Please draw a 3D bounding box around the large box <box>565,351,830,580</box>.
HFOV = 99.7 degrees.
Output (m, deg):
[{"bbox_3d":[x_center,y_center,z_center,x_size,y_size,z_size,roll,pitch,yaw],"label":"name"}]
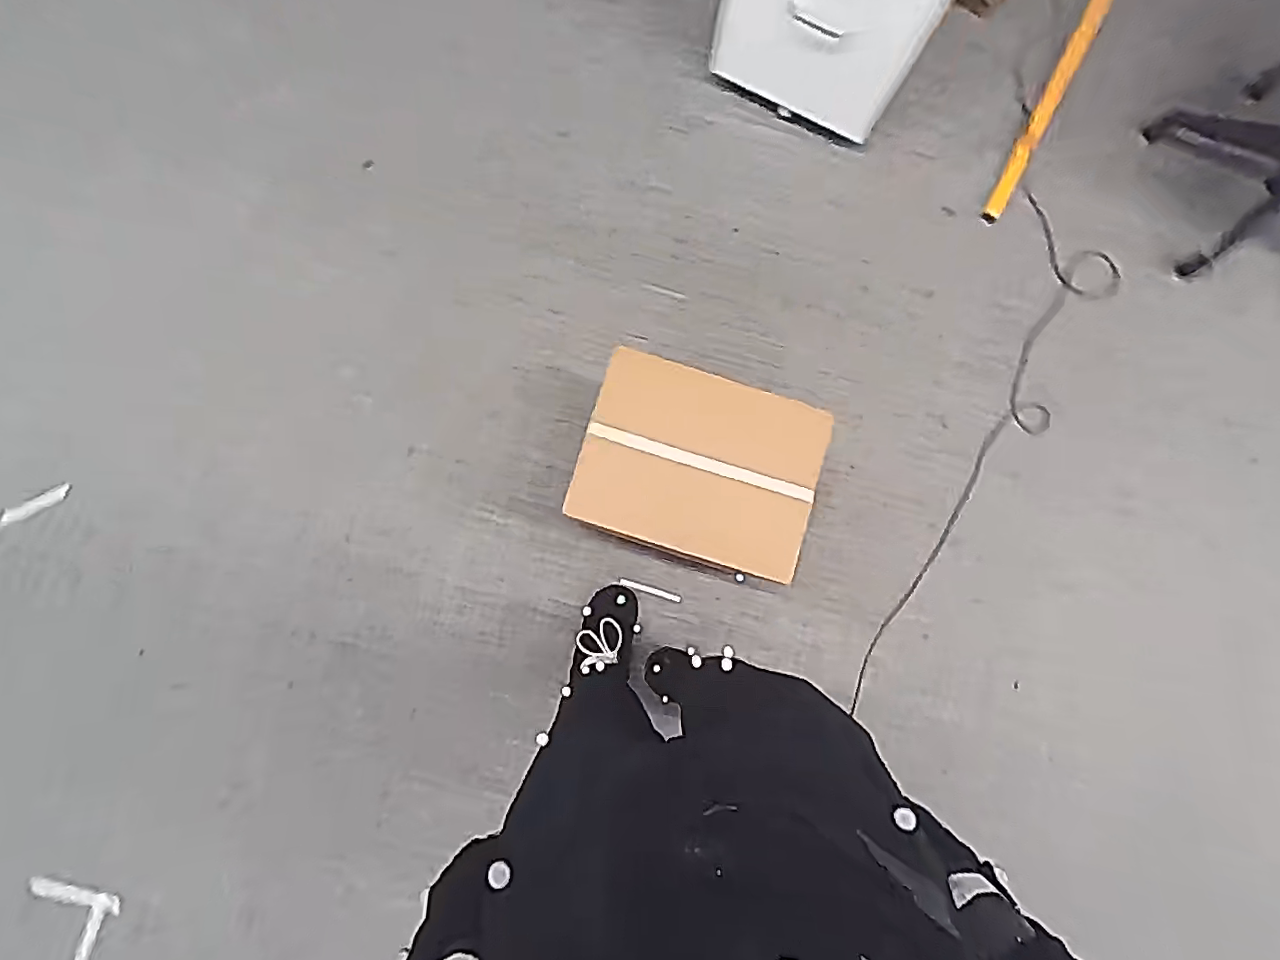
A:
[{"bbox_3d":[0.100,-0.011,1.079,0.408,0.320,0.320,17,82,0],"label":"large box"}]
